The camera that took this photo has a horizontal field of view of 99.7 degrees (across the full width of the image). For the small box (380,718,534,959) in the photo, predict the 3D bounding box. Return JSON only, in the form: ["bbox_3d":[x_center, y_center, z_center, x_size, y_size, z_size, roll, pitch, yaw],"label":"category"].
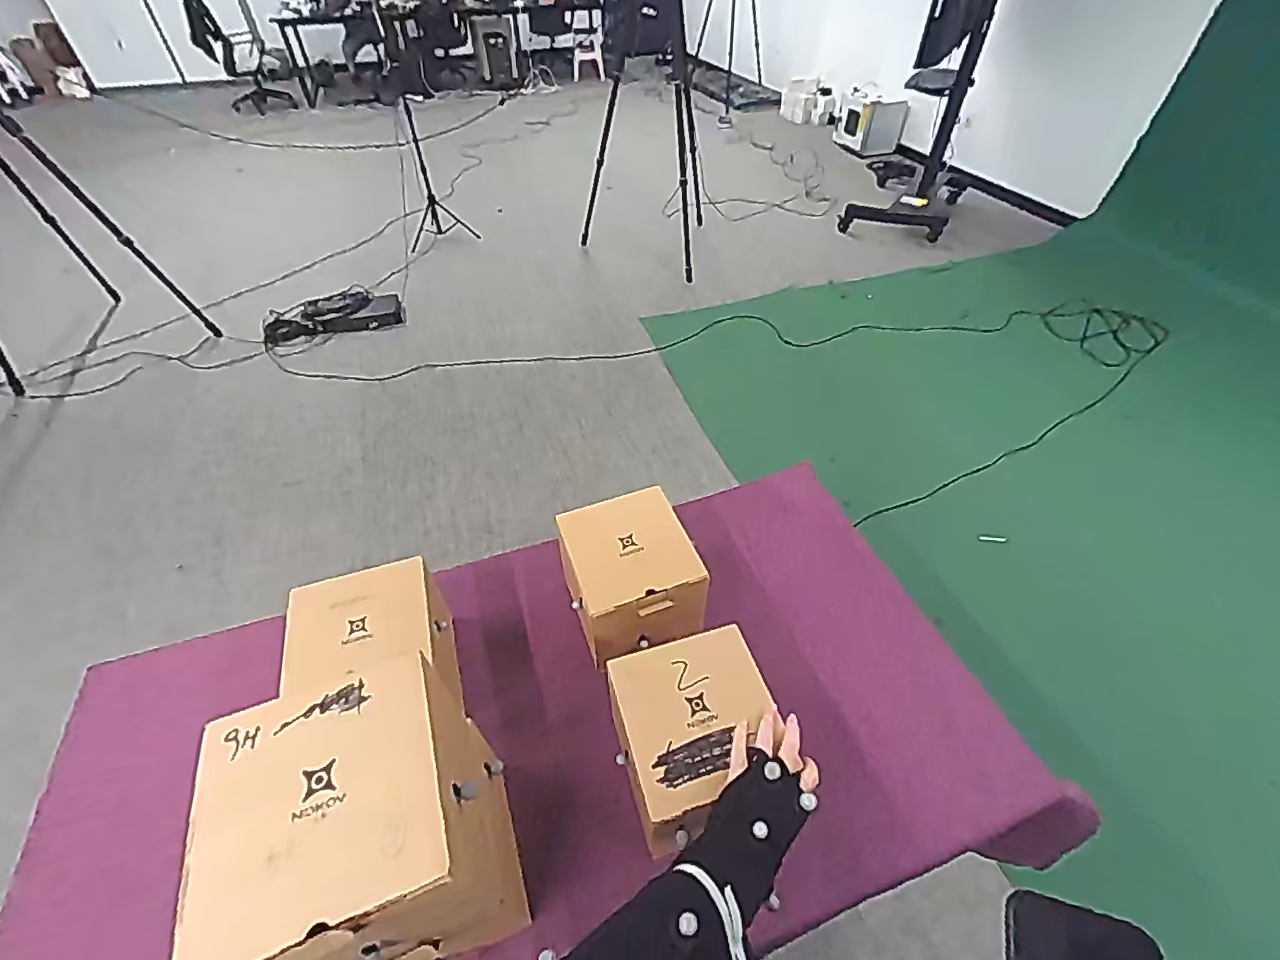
[{"bbox_3d":[-0.221,0.392,0.571,0.168,0.176,0.179,-17,49,-14],"label":"small box"}]

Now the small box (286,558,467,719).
[{"bbox_3d":[-0.338,0.238,0.720,0.168,0.176,0.179,-14,48,-13],"label":"small box"}]

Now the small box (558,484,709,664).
[{"bbox_3d":[-0.014,0.140,0.804,0.168,0.176,0.179,-17,50,-14],"label":"small box"}]

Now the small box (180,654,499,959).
[{"bbox_3d":[-0.227,0.283,0.448,0.168,0.176,0.179,-17,49,-15],"label":"small box"}]
